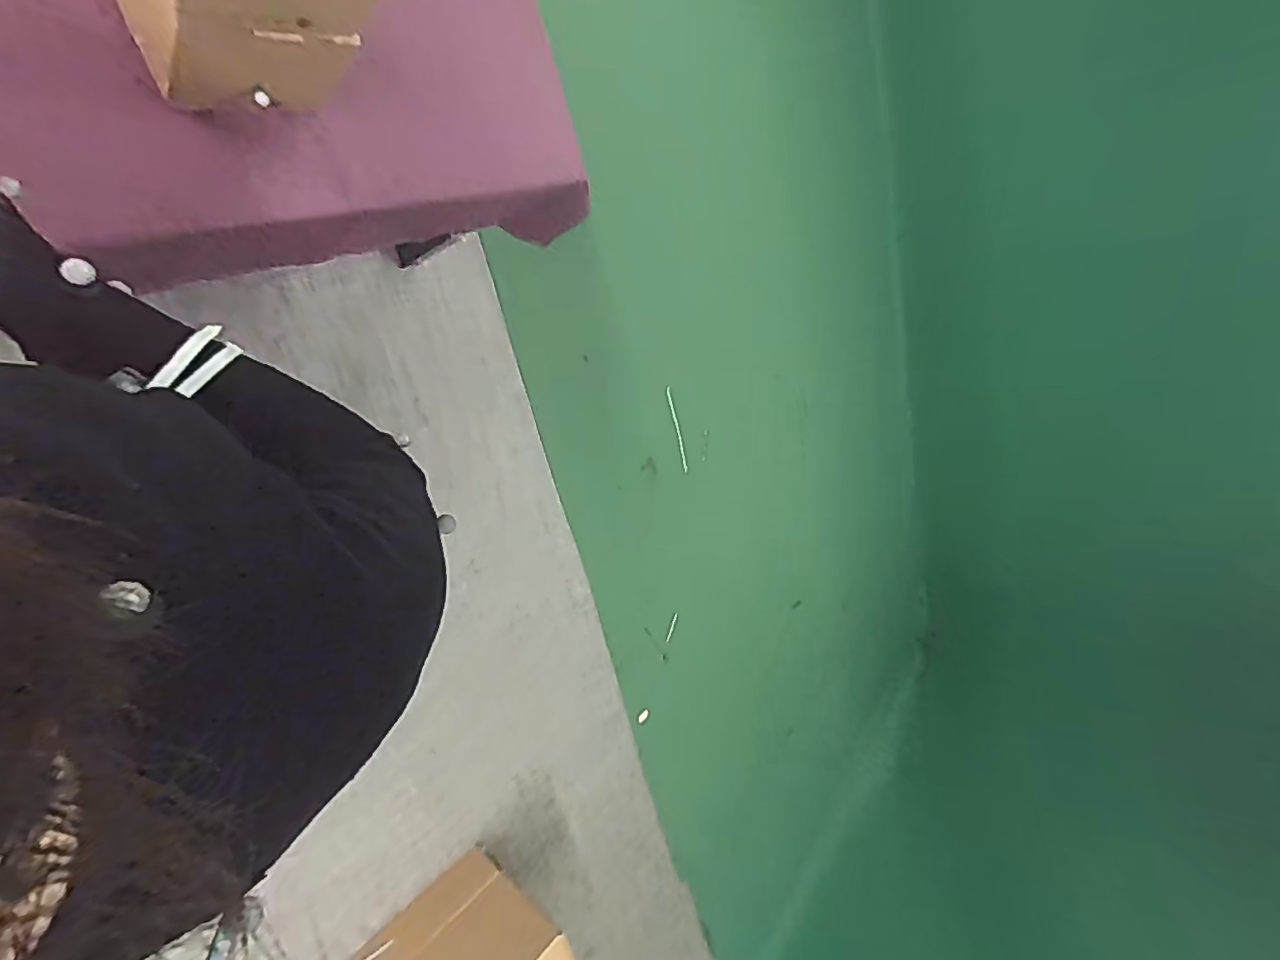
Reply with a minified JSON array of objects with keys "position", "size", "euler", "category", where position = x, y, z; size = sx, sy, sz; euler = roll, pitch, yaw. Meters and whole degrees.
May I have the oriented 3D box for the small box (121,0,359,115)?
[{"position":[-0.432,-0.515,0.561],"size":[0.168,0.176,0.179],"euler":[-31,113,-37],"category":"small box"}]
